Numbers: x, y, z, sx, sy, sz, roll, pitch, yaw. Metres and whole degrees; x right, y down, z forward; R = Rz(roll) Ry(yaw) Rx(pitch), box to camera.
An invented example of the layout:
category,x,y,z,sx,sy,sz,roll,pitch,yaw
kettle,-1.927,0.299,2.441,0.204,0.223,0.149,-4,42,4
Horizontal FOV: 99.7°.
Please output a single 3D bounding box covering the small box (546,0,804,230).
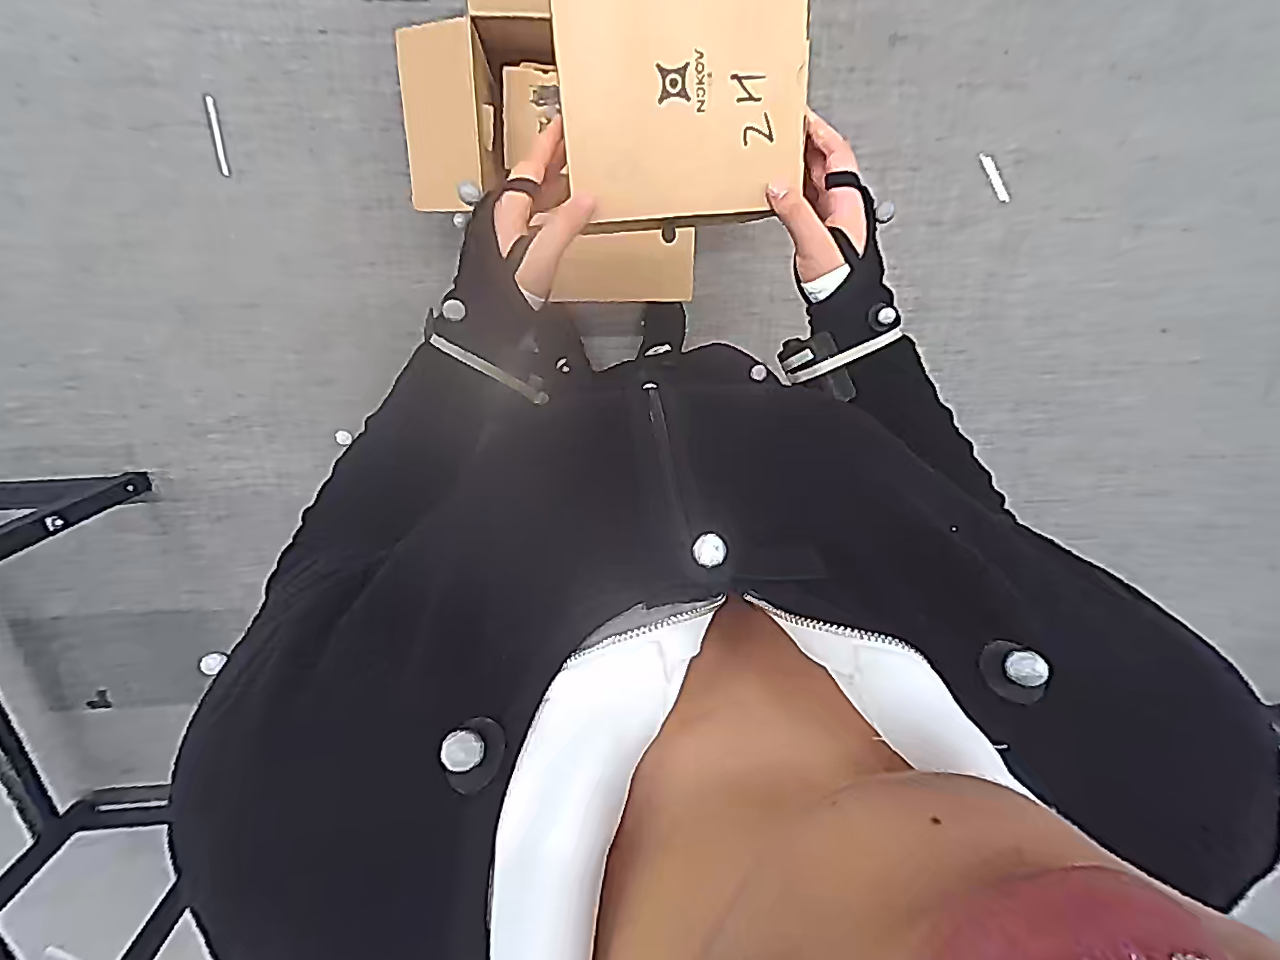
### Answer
category,x,y,z,sx,sy,sz,roll,pitch,yaw
small box,0.022,-0.308,0.453,0.179,0.176,0.168,-6,113,-4
